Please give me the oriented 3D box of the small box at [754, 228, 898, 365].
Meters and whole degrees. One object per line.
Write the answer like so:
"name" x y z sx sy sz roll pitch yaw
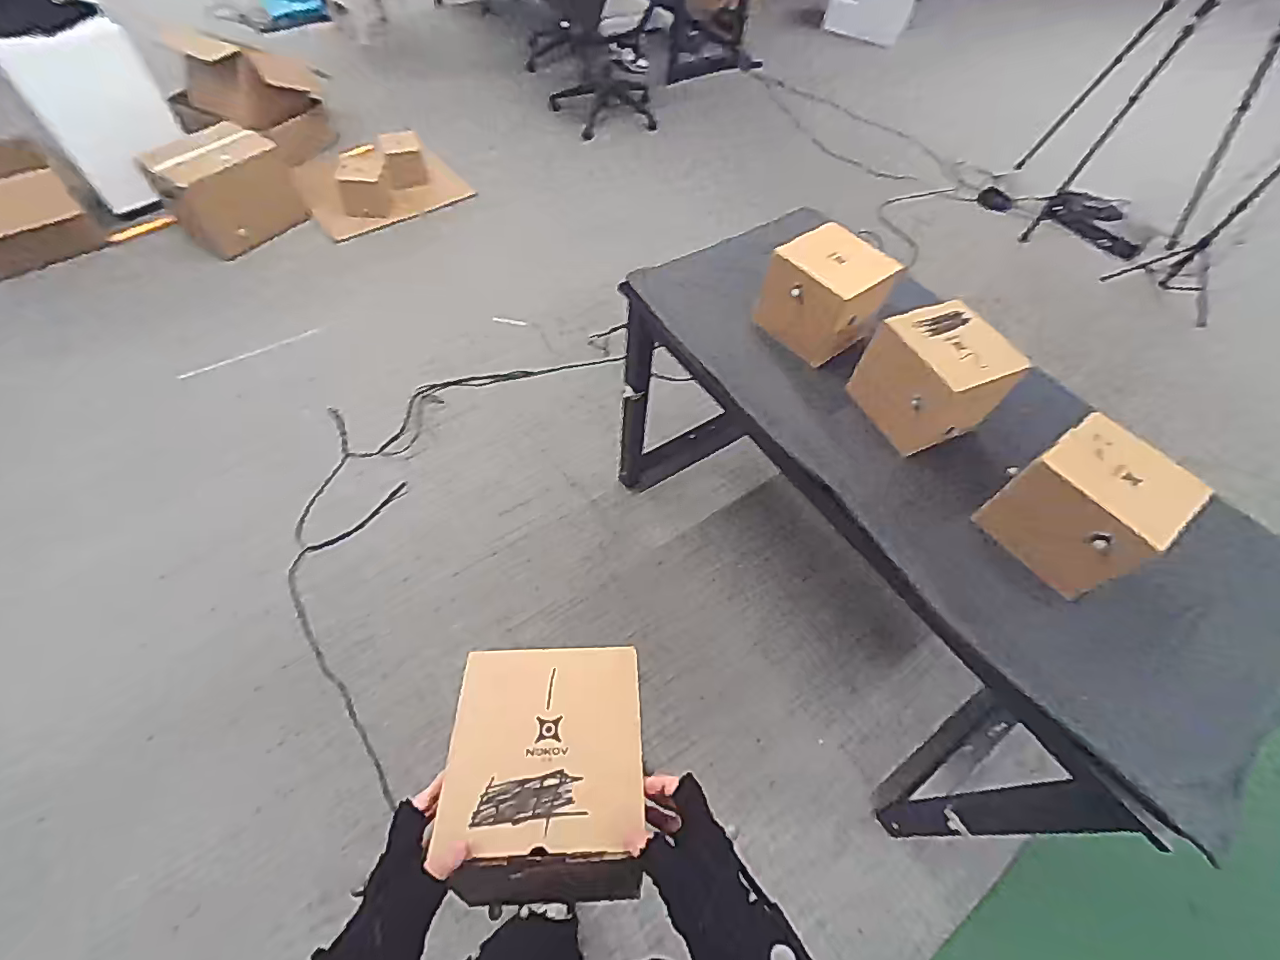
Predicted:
"small box" 0.351 -0.348 1.050 0.168 0.176 0.179 -33 65 -24

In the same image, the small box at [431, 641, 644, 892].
"small box" -0.081 0.277 0.520 0.168 0.176 0.179 0 42 -3

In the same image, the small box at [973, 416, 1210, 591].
"small box" 0.655 0.043 0.806 0.168 0.176 0.179 -30 63 -23
